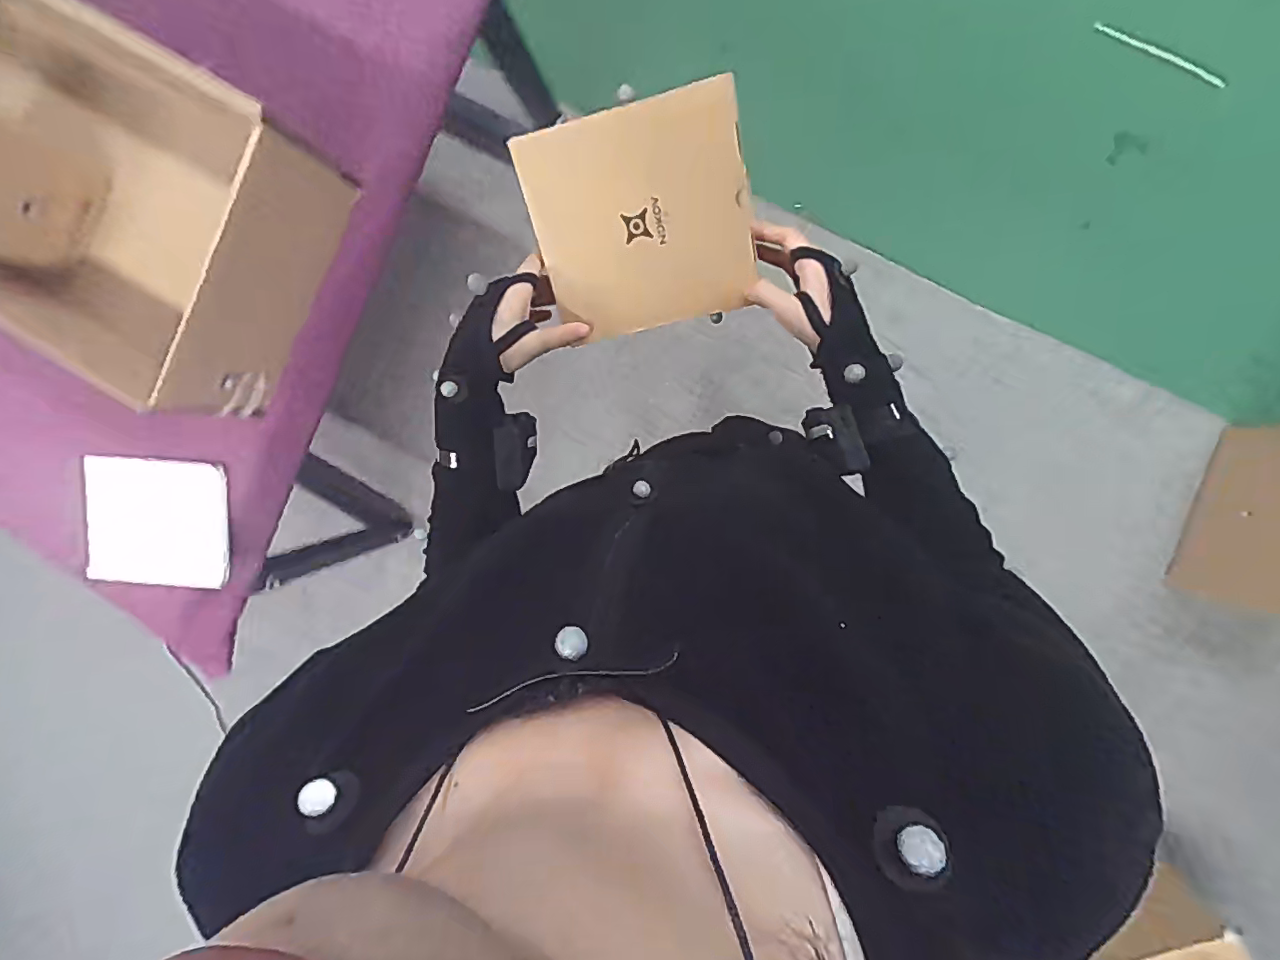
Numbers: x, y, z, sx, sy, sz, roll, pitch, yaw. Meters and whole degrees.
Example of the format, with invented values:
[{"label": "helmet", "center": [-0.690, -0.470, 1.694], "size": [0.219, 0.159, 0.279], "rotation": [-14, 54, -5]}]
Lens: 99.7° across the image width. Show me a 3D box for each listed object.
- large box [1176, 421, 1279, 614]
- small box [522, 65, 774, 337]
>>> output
[{"label": "large box", "center": [1.488, 0.100, 1.155], "size": [0.320, 0.320, 0.408], "rotation": [14, 96, 6]}, {"label": "small box", "center": [0.015, -0.246, 0.504], "size": [0.179, 0.176, 0.168], "rotation": [-12, 116, 8]}]
